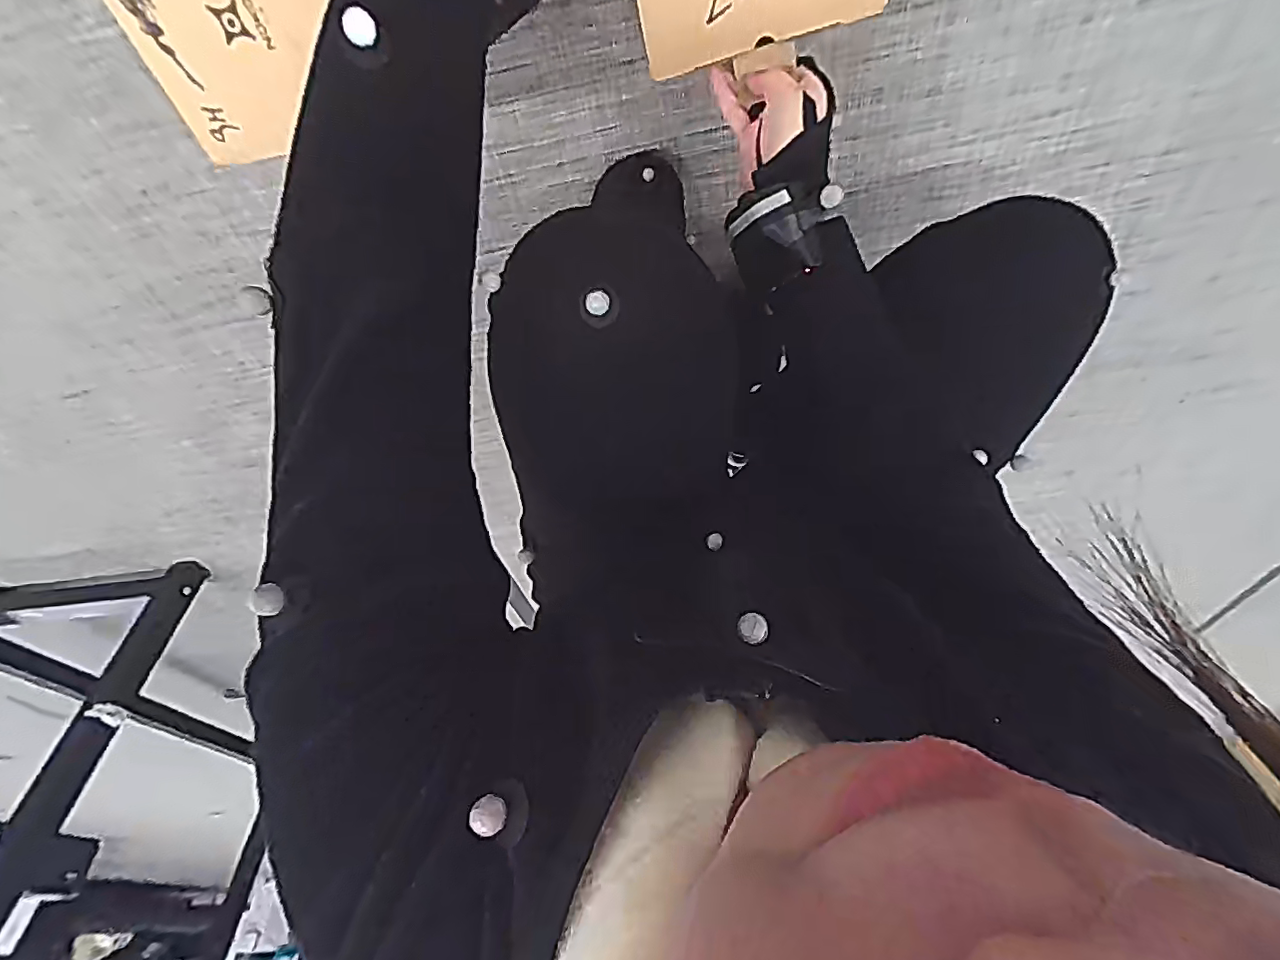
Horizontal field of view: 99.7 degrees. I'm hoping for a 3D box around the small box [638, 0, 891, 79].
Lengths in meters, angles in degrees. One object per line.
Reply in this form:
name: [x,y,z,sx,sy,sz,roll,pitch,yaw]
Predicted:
small box: [0.069,-0.416,0.369,0.168,0.176,0.179,-9,137,12]
